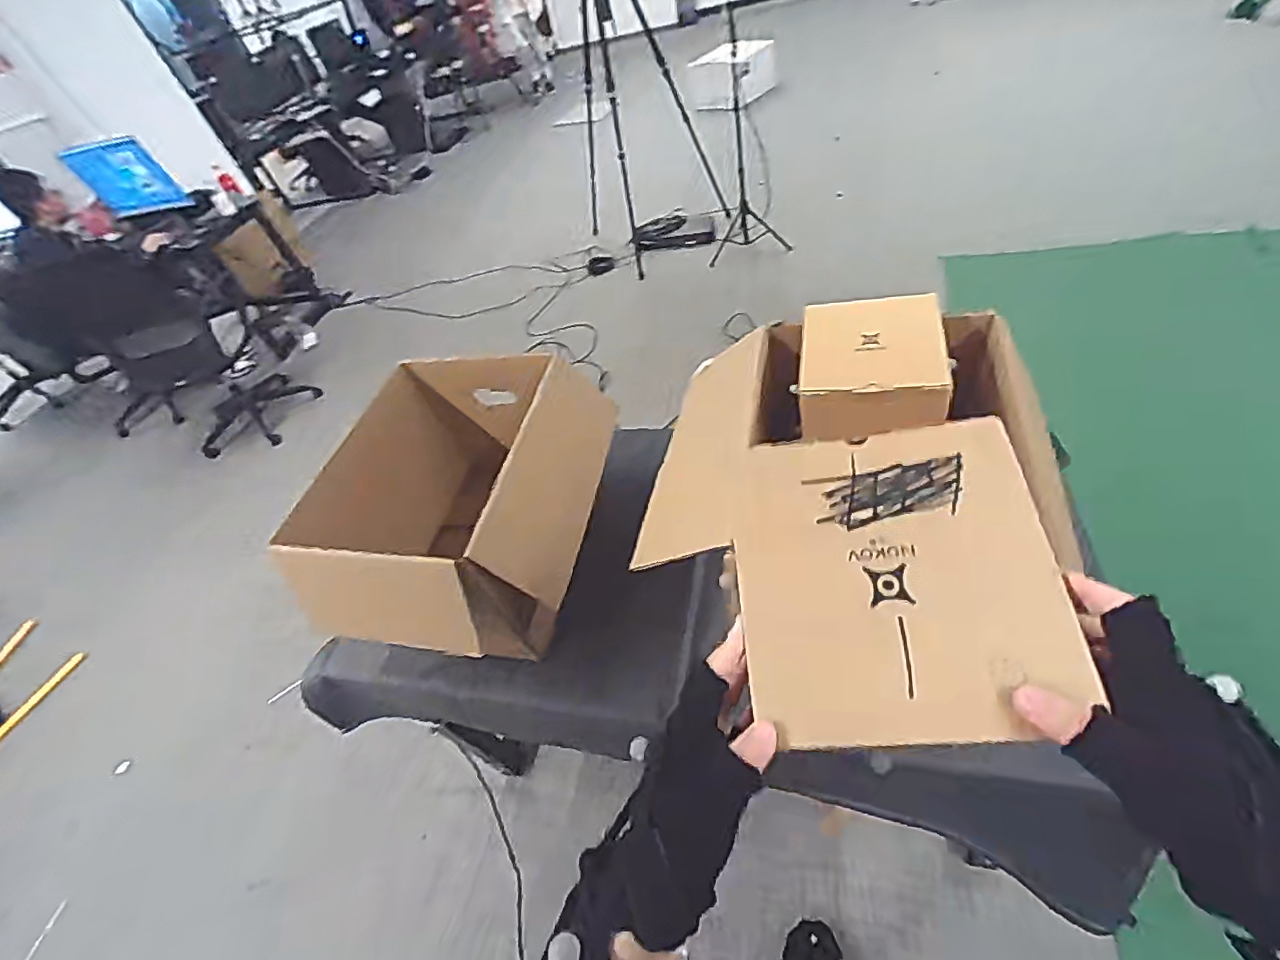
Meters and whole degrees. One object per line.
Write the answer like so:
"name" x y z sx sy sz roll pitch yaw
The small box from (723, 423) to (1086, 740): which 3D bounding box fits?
"small box" 0.149 0.083 0.378 0.168 0.176 0.179 -6 64 10
